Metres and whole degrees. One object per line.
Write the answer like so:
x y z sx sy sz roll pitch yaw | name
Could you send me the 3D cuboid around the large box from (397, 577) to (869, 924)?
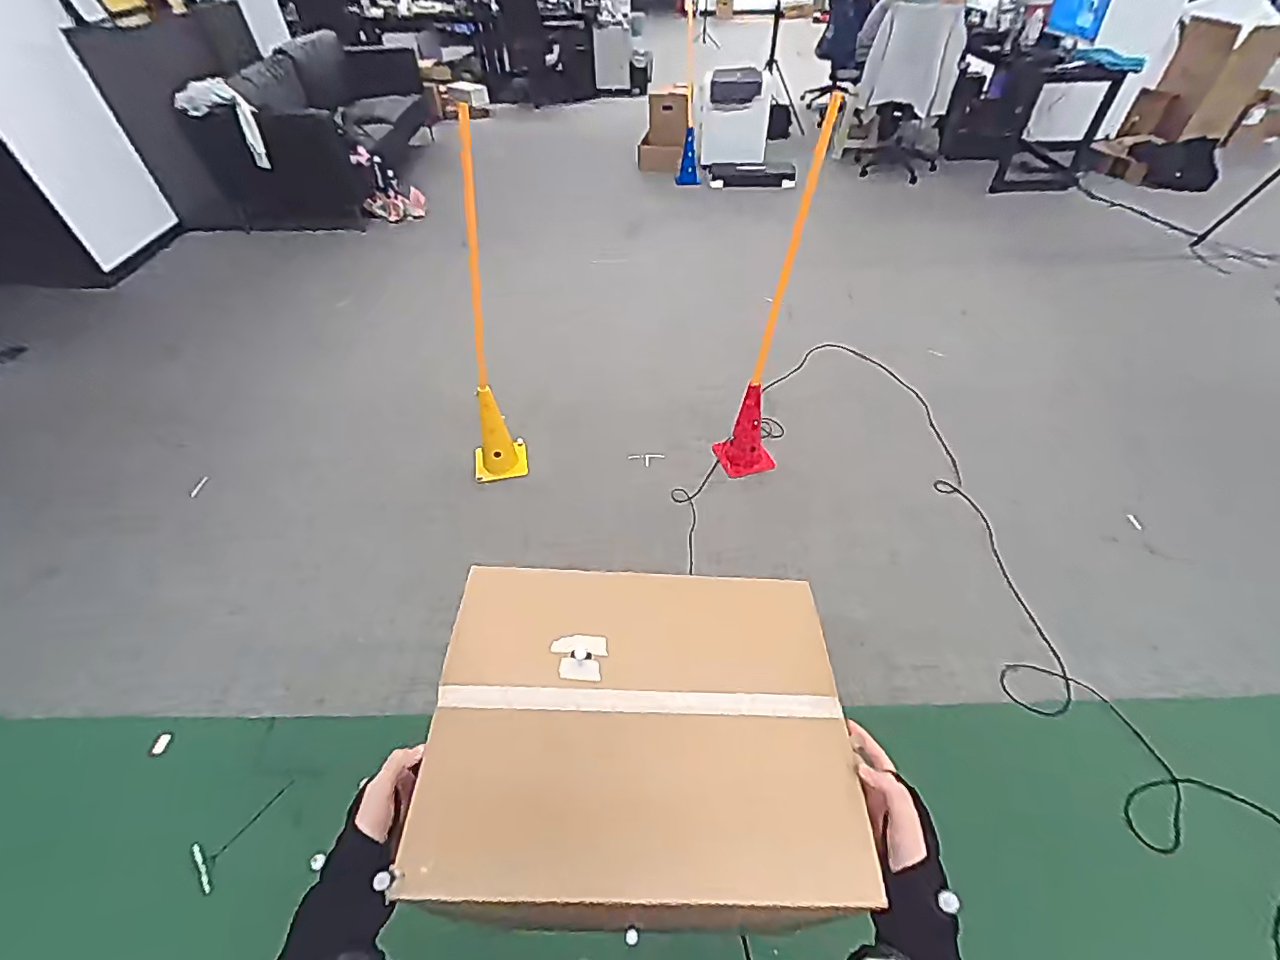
-0.009 0.334 0.658 0.408 0.320 0.320 3 46 -2 | large box
